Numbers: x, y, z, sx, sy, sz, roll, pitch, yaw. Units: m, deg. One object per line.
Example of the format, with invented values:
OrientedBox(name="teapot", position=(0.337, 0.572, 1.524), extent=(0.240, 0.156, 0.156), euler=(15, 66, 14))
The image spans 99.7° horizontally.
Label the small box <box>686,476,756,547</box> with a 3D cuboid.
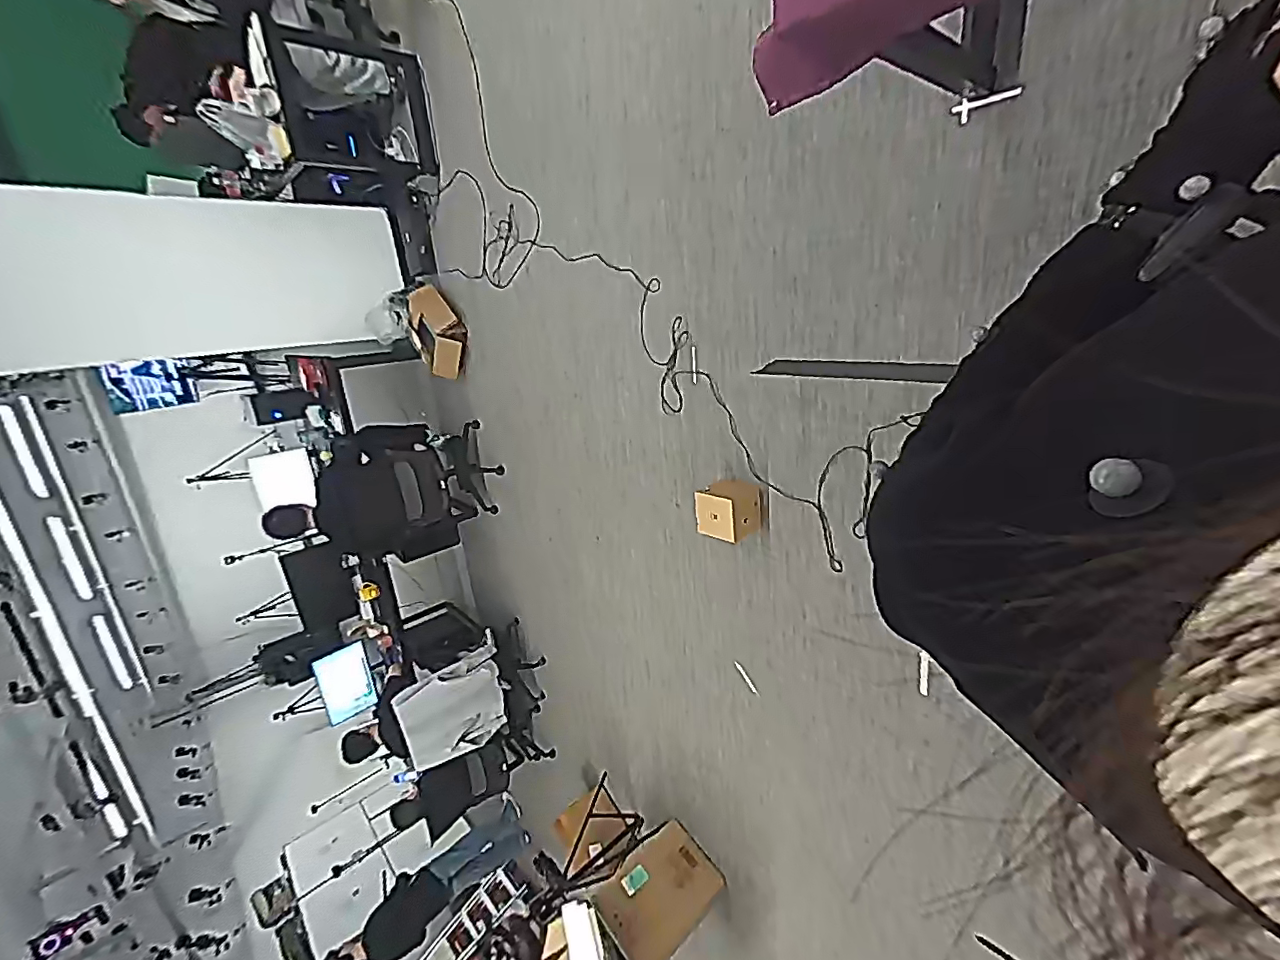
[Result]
OrientedBox(name="small box", position=(0.289, 0.113, 1.974), extent=(0.168, 0.176, 0.179), euler=(30, 148, 63))
